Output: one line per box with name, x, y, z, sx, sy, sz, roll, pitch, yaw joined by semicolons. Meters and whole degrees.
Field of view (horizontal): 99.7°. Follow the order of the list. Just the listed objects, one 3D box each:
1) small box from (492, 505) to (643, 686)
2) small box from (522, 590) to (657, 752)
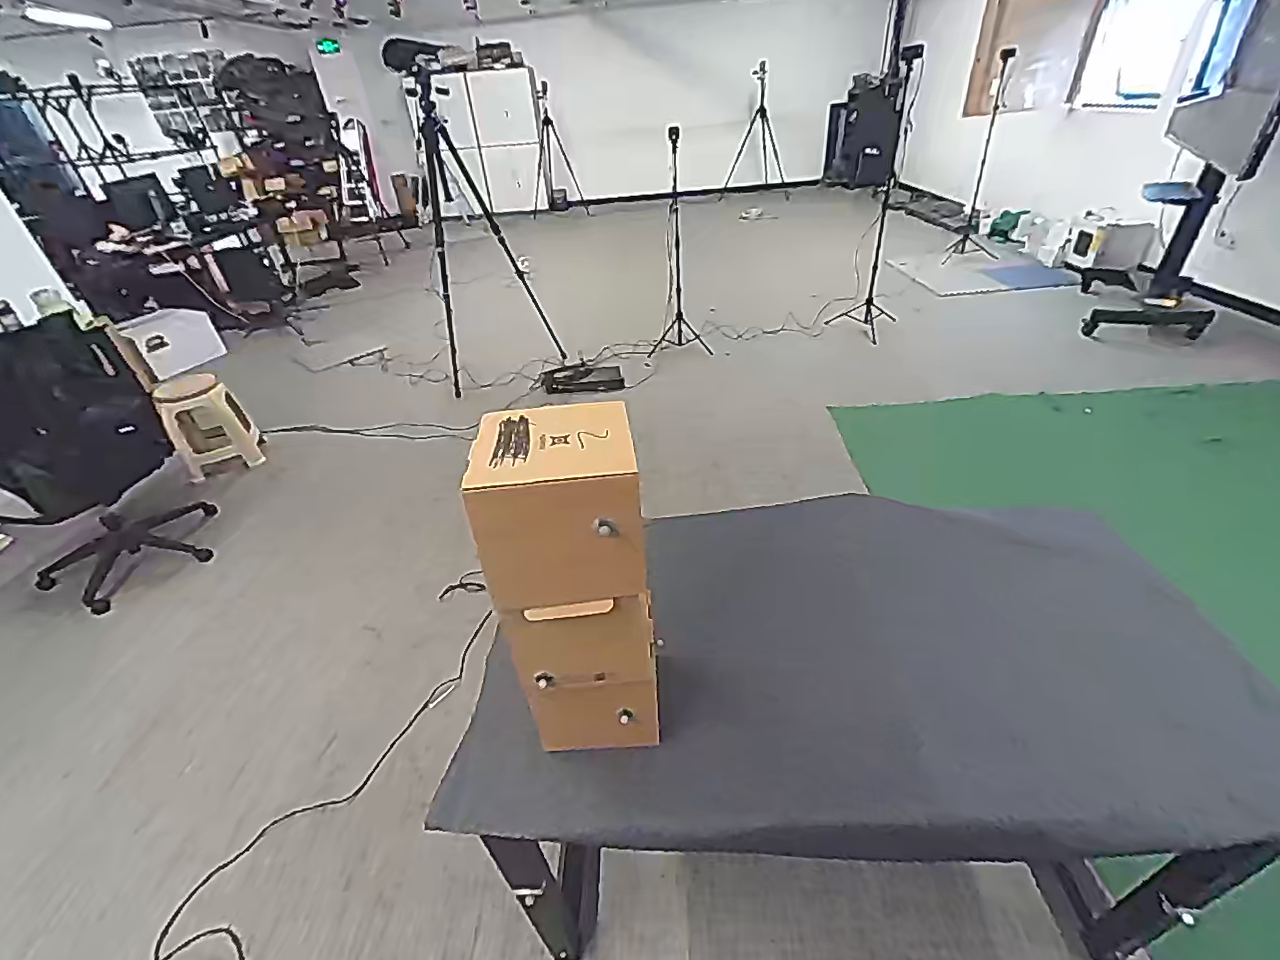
small box;-0.089;0.158;0.730;0.168;0.176;0.179;-7;33;-2
small box;-0.065;0.291;0.825;0.179;0.176;0.168;-5;34;2
